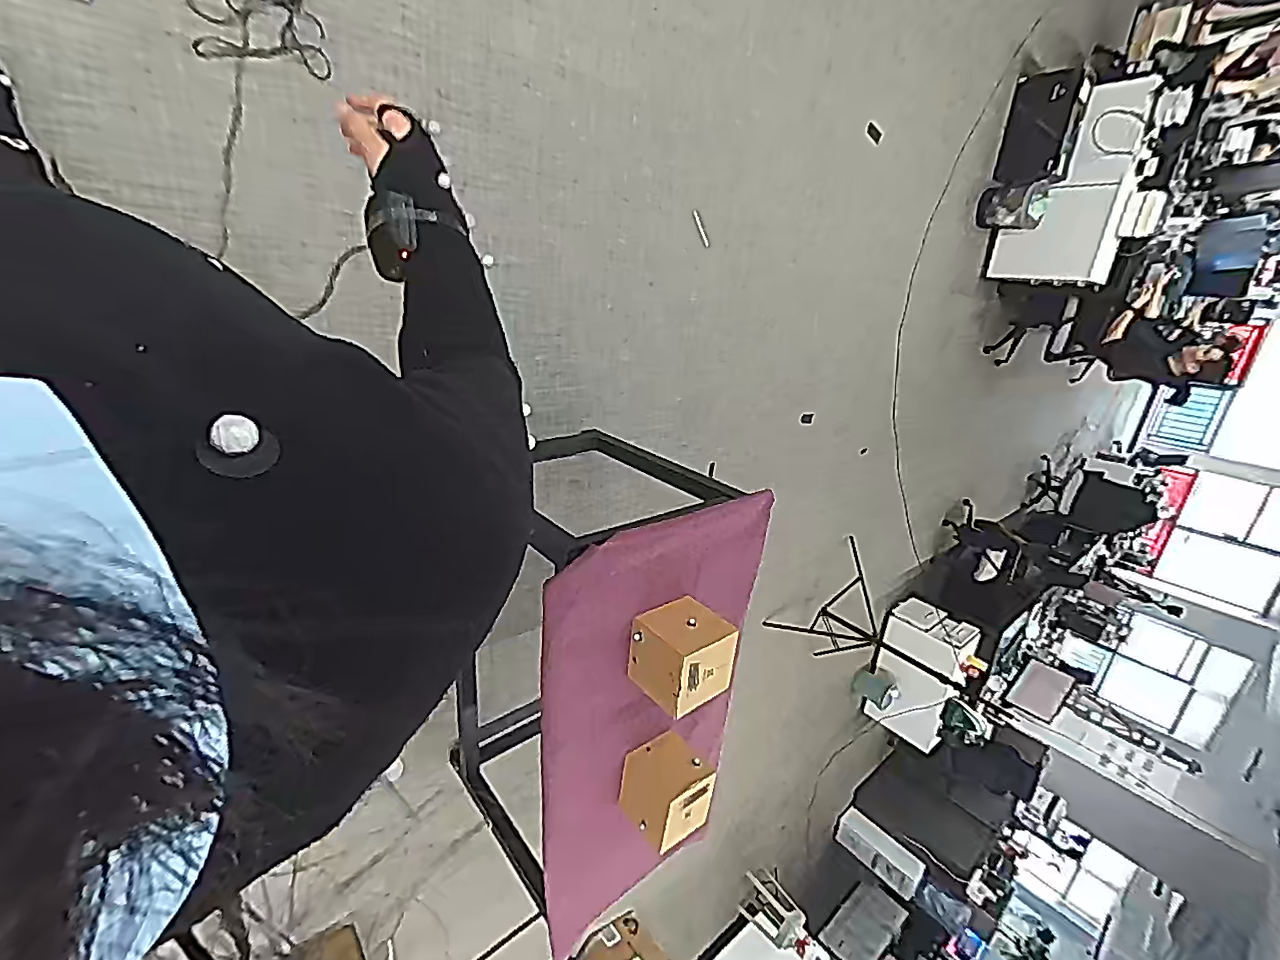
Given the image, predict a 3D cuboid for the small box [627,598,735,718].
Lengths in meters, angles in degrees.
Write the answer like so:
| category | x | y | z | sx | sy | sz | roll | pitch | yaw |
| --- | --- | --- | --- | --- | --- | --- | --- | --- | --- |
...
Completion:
| category | x | y | z | sx | sy | sz | roll | pitch | yaw |
| --- | --- | --- | --- | --- | --- | --- | --- | --- | --- |
| small box | 0.088 | 0.396 | 1.236 | 0.179 | 0.176 | 0.168 | -12 | 116 | -39 |
